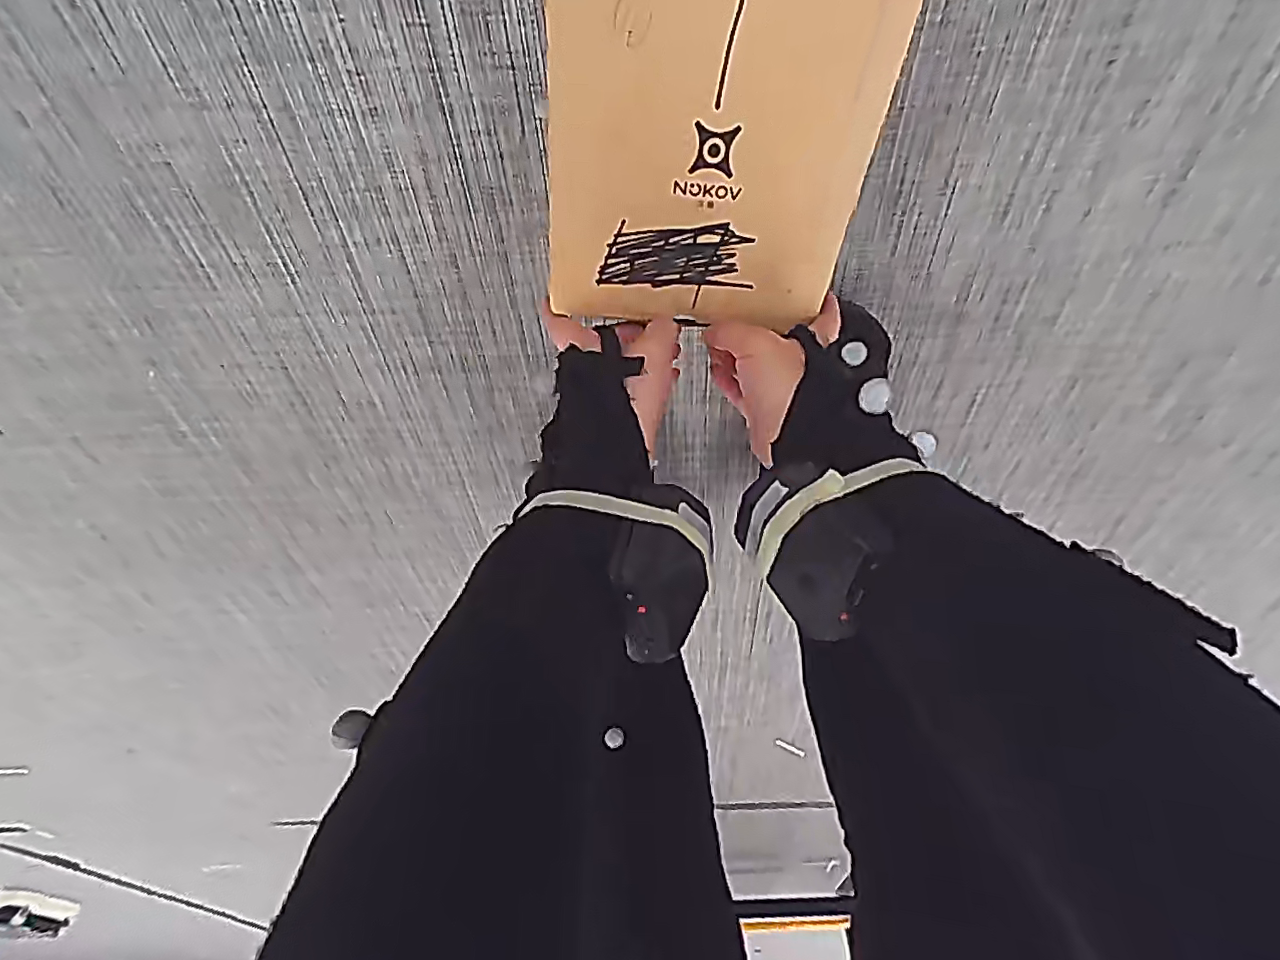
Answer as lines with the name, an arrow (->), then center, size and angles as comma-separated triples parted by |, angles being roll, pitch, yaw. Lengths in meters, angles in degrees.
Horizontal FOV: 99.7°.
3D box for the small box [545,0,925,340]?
small box -> 0.033, -0.211, 0.337 | 0.168, 0.176, 0.179 | 3, 131, -5
